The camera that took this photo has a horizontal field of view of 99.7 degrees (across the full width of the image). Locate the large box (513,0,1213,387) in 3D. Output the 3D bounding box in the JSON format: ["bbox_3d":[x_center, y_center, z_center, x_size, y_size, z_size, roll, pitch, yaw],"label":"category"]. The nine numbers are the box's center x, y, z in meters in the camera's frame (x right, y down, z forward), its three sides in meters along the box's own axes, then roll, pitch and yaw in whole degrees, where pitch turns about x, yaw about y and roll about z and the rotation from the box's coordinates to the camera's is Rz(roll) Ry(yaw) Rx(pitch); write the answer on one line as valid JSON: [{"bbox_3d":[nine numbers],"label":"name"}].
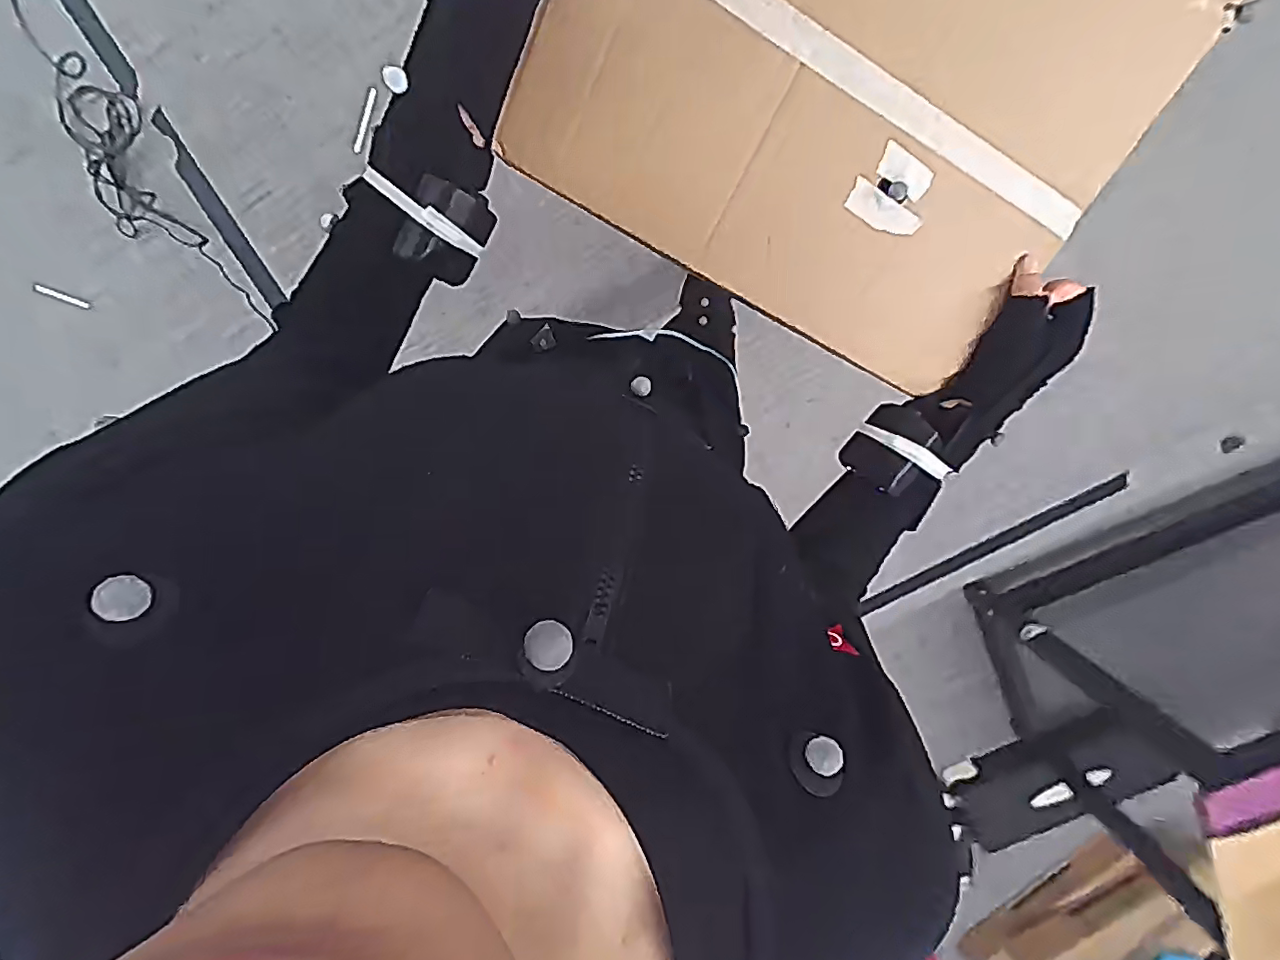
[{"bbox_3d":[0.143,-0.343,0.515,0.408,0.320,0.320,25,112,-13],"label":"large box"}]
